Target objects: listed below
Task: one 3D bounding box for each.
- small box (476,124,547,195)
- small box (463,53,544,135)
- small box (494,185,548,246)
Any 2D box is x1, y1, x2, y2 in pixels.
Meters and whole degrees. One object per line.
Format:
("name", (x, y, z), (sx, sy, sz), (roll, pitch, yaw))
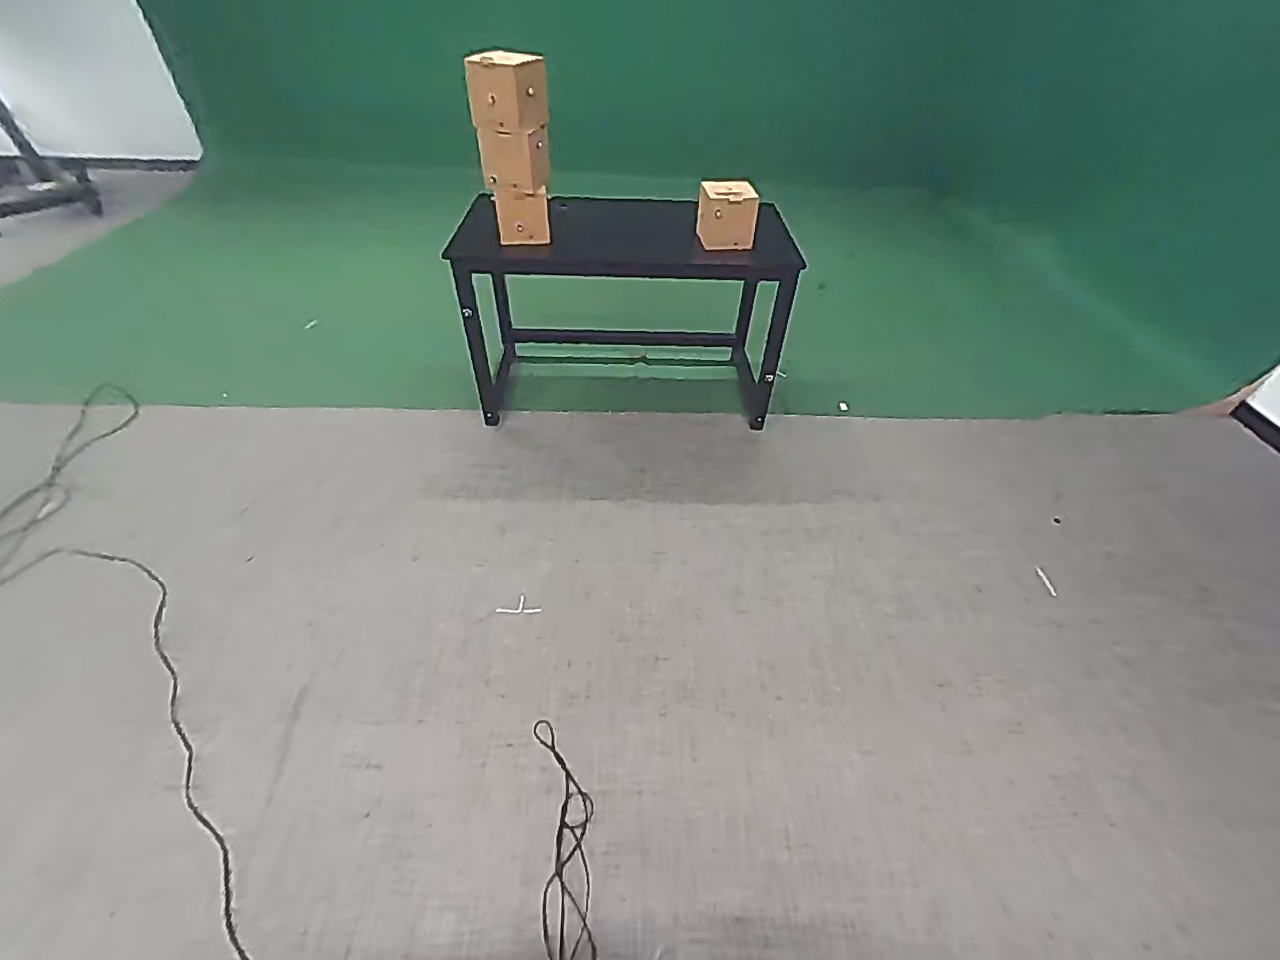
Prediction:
("small box", (-0.402, -1.034, 1.733), (0.168, 0.176, 0.179), (11, 45, 7))
("small box", (-0.399, -1.155, 1.621), (0.168, 0.176, 0.179), (19, 48, 14))
("small box", (-0.405, -0.918, 1.849), (0.168, 0.176, 0.179), (-5, 46, -8))
